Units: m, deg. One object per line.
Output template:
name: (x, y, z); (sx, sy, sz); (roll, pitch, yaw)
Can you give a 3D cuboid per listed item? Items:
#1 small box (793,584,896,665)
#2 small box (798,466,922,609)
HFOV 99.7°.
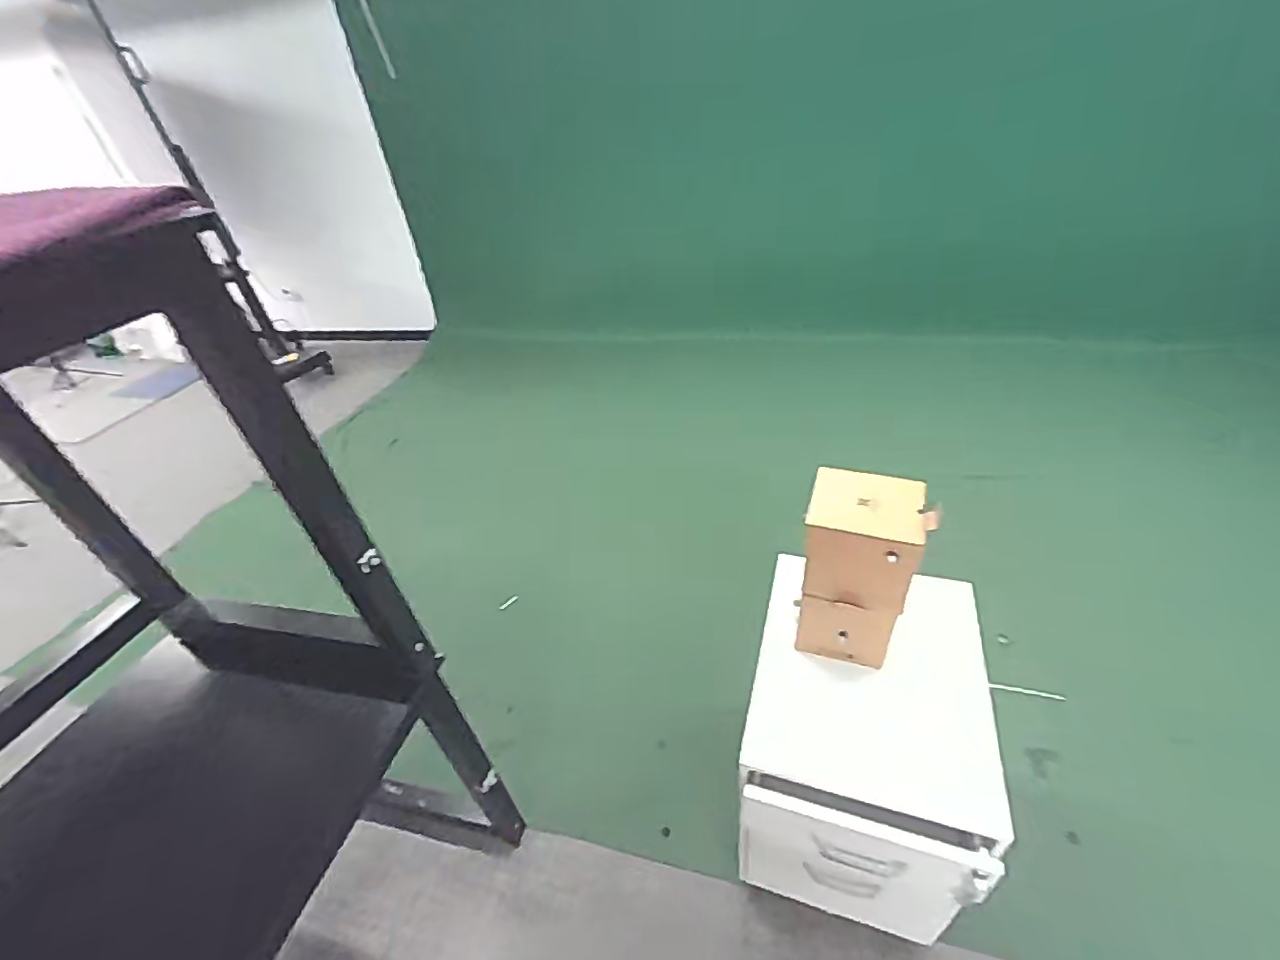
small box: (0.392, 0.226, 1.043); (0.168, 0.176, 0.179); (8, 40, 19)
small box: (0.378, 0.099, 0.942); (0.179, 0.176, 0.168); (10, 40, 20)
